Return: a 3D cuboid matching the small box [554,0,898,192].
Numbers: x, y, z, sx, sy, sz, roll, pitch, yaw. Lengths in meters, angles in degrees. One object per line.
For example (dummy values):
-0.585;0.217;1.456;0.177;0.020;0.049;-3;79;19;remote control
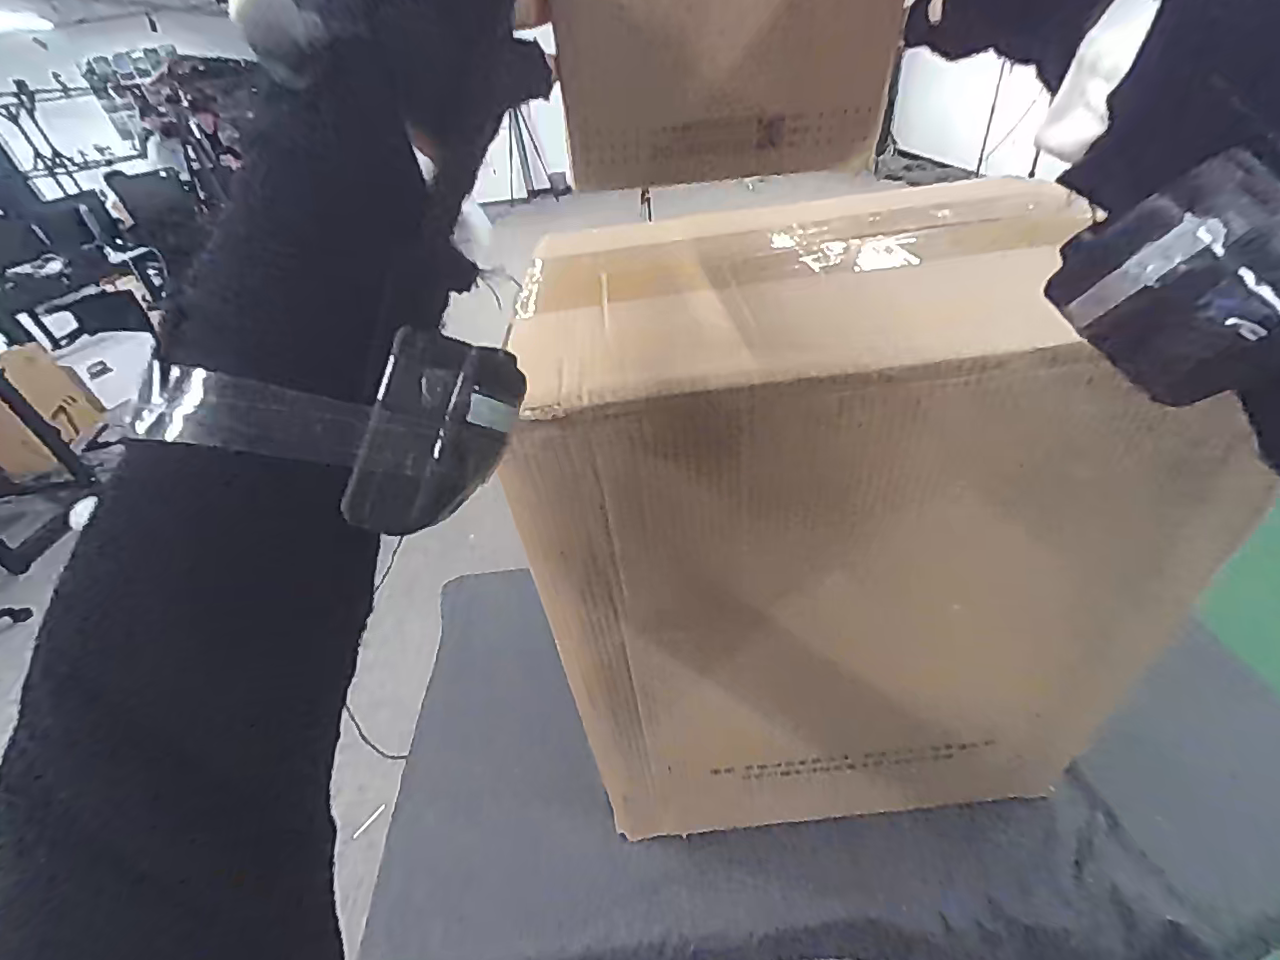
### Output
0.034;-0.277;0.314;0.168;0.176;0.179;-7;39;-3;small box
